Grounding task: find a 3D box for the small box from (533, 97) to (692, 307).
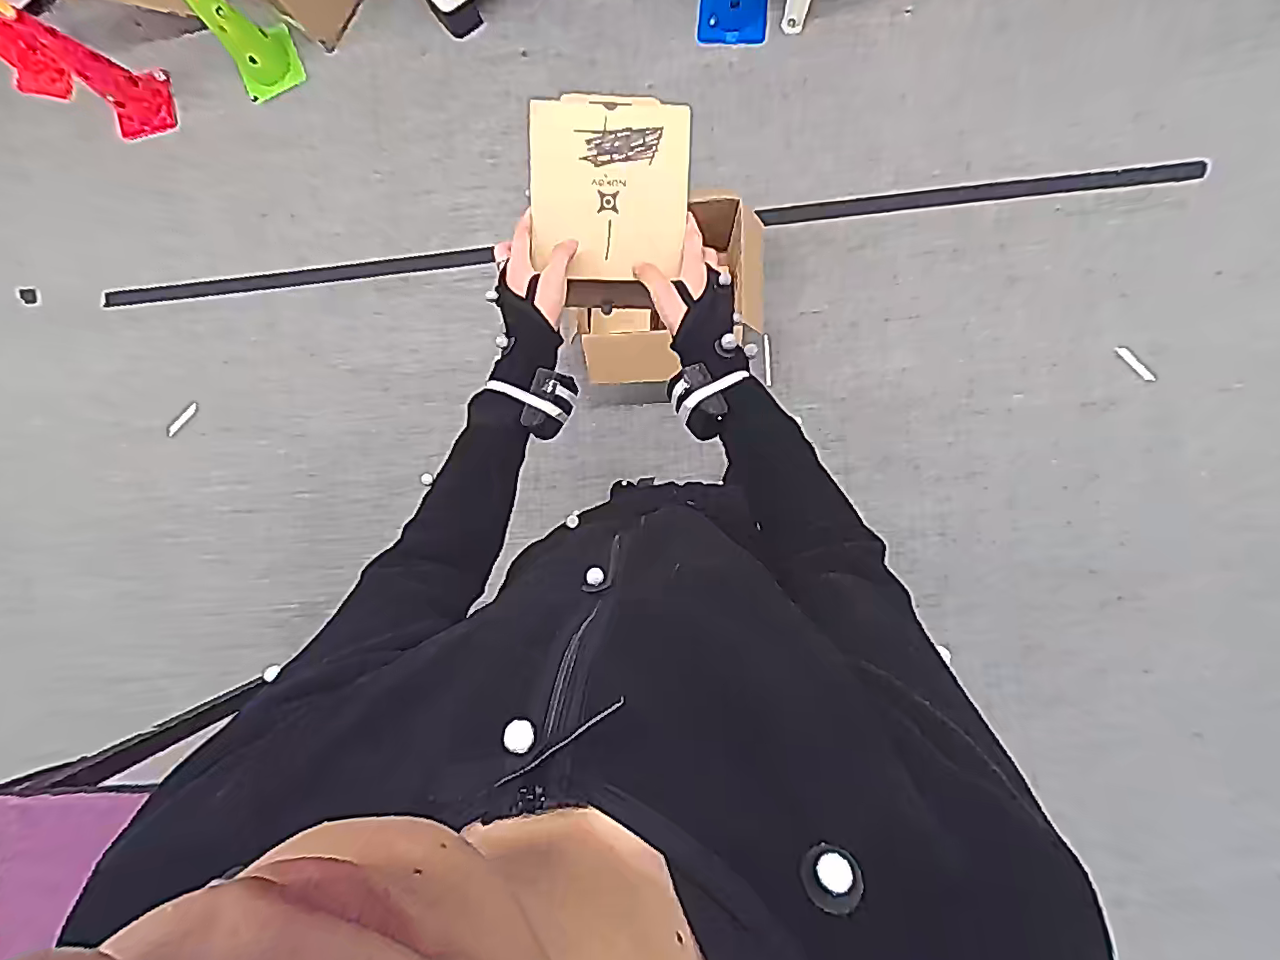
[{"bbox_3d":[-0.032,-0.313,0.641,0.168,0.176,0.179,1,98,-1],"label":"small box"}]
